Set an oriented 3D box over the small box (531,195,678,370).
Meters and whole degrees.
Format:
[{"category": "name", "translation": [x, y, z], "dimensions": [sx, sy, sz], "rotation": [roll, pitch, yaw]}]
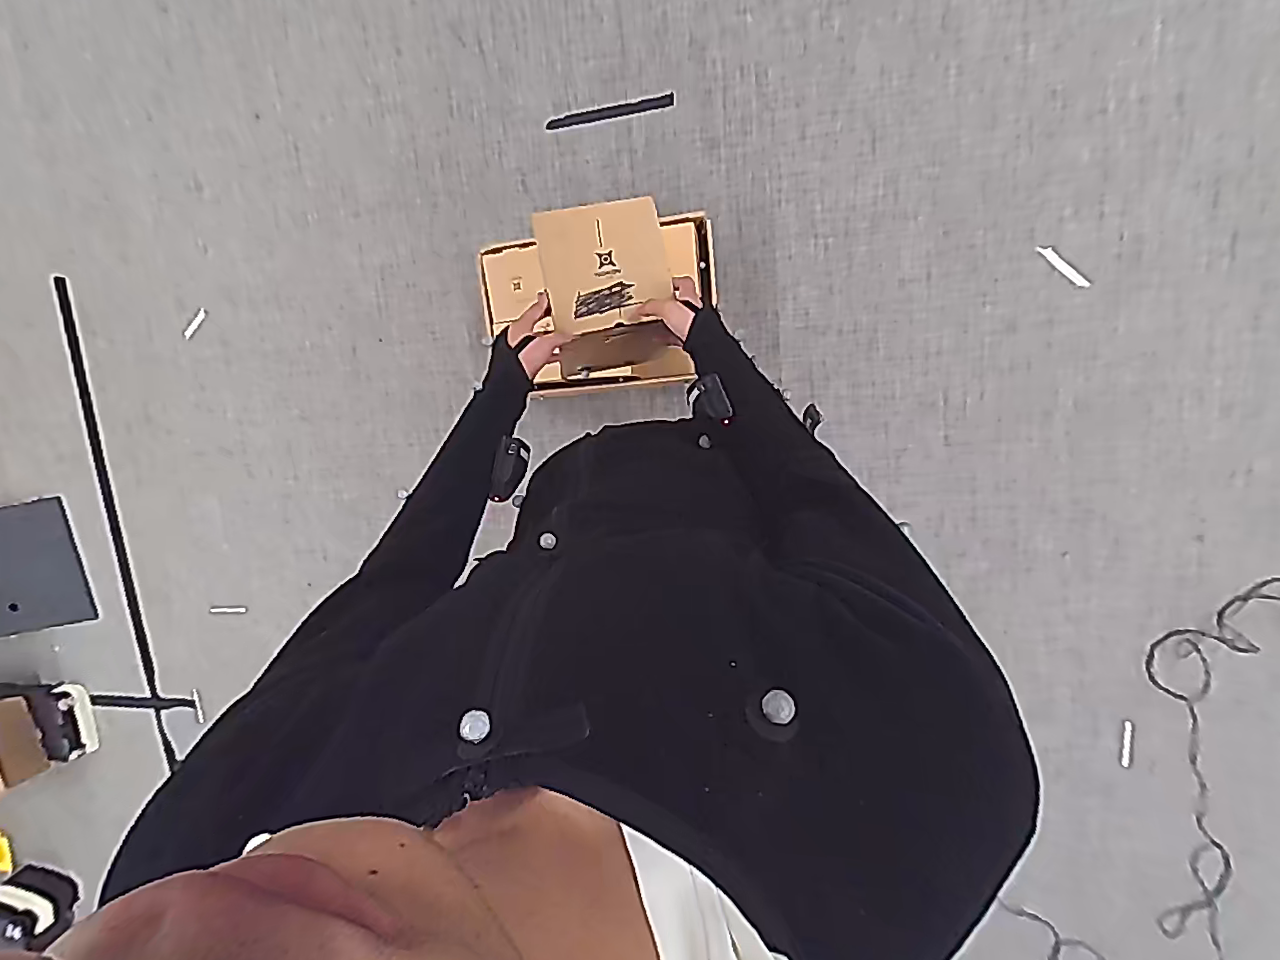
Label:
[{"category": "small box", "translation": [-0.051, -0.269, 0.776], "dimensions": [0.168, 0.176, 0.179], "rotation": [-12, 84, -6]}]
